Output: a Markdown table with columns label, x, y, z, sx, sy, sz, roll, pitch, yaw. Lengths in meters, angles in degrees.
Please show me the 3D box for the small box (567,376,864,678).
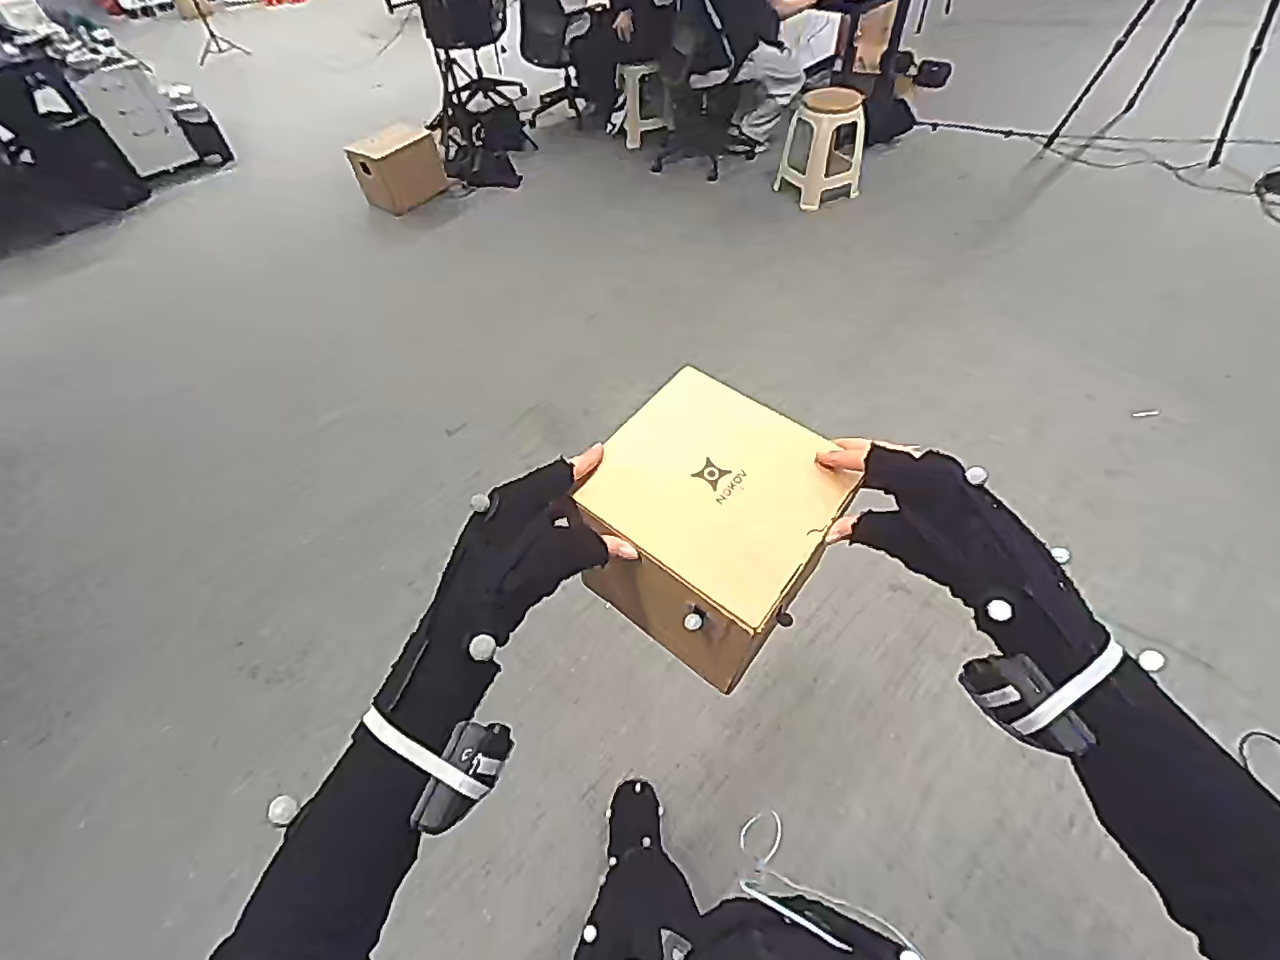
| label | x | y | z | sx | sy | sz | roll | pitch | yaw |
| --- | --- | --- | --- | --- | --- | --- | --- | --- | --- |
| small box | 0.058 | 0.047 | 0.484 | 0.179 | 0.176 | 0.168 | 35 | 62 | 20 |
